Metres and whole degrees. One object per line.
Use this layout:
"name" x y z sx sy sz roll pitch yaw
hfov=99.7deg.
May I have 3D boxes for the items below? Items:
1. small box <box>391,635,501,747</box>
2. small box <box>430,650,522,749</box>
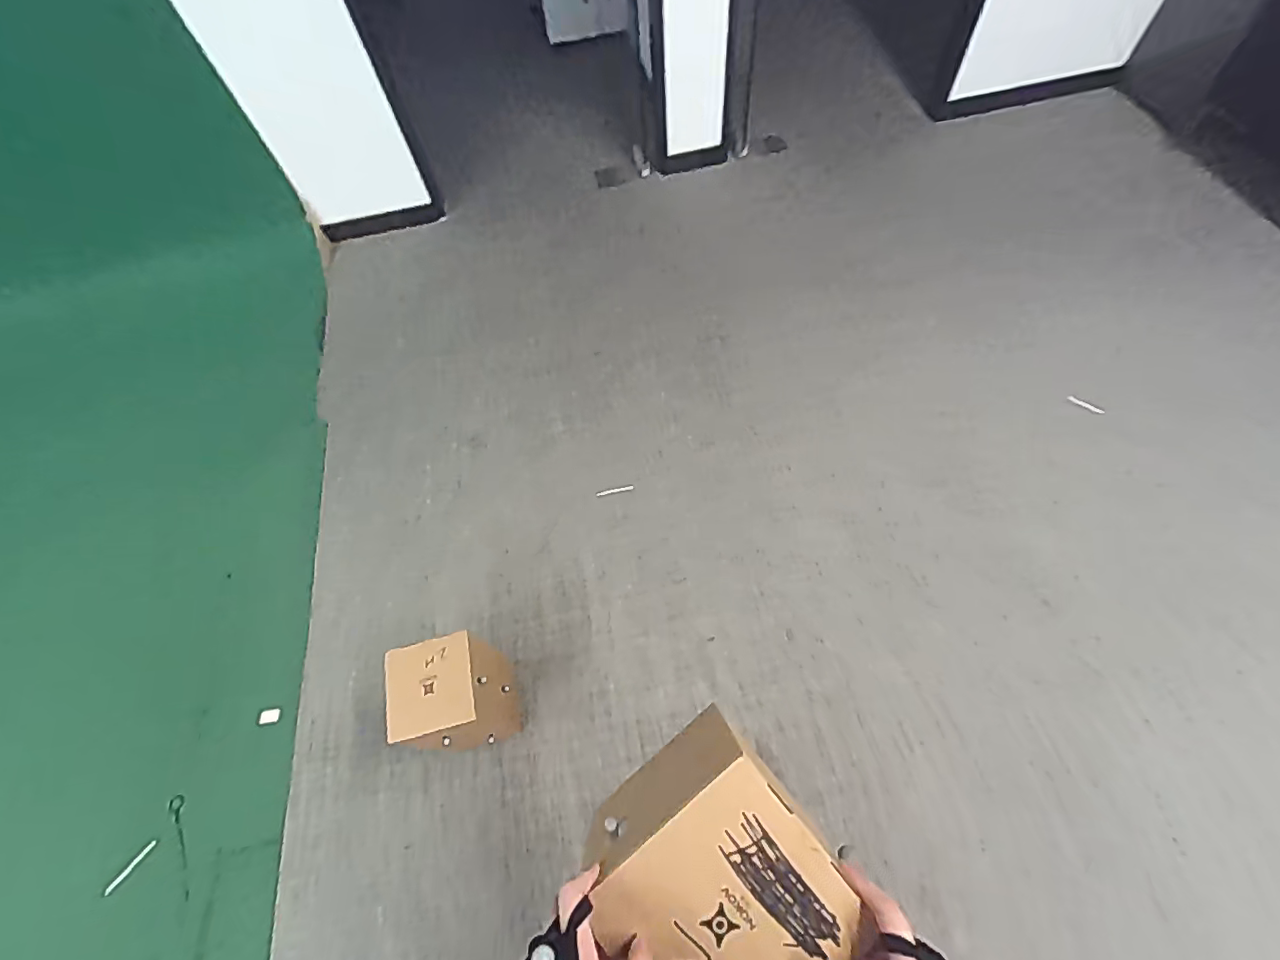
"small box" -0.395 0.440 1.116 0.168 0.176 0.179 -14 61 -4
"small box" -0.381 0.517 1.261 0.168 0.176 0.179 -13 60 -3
